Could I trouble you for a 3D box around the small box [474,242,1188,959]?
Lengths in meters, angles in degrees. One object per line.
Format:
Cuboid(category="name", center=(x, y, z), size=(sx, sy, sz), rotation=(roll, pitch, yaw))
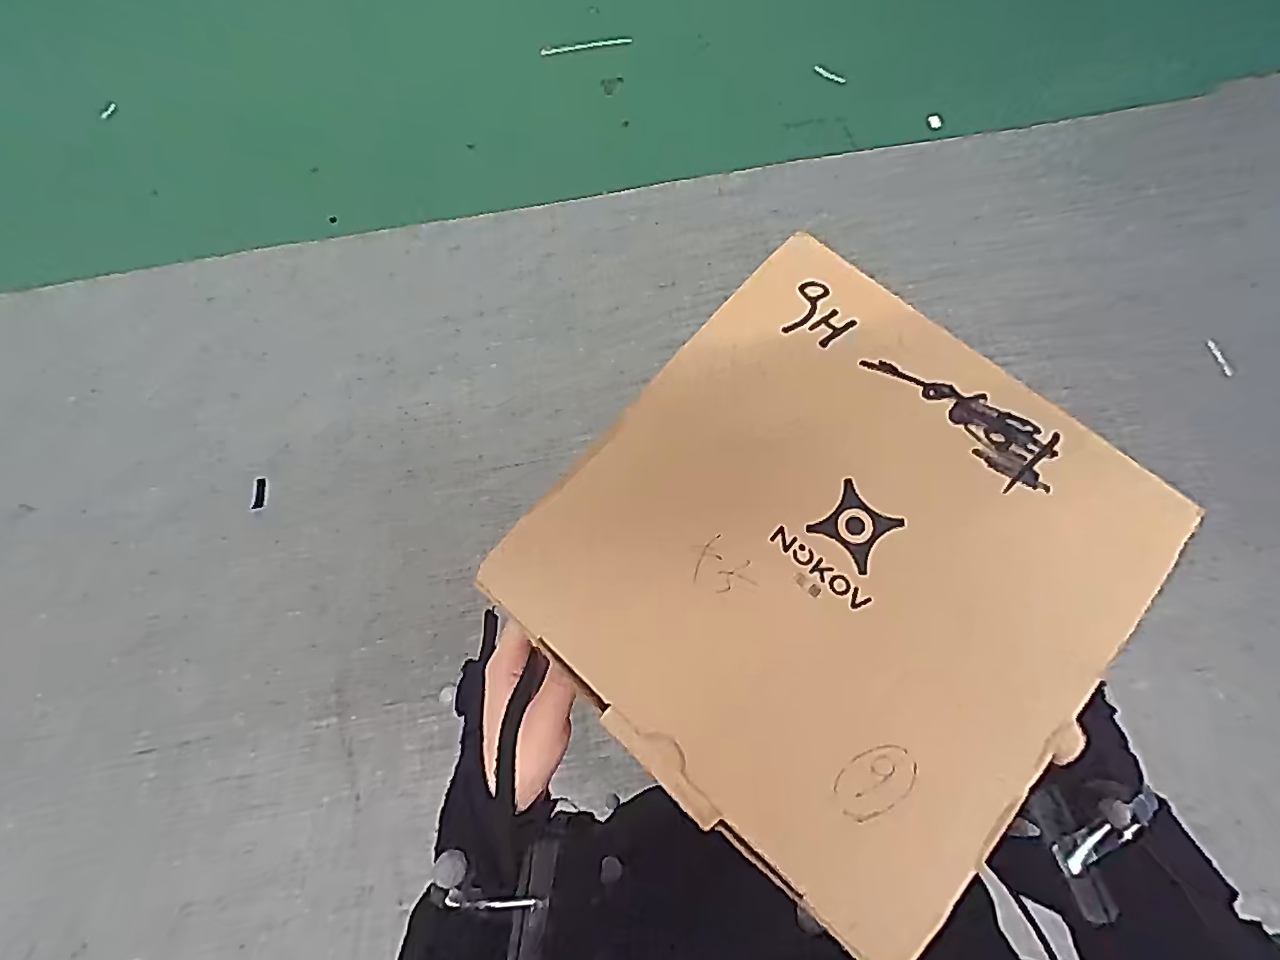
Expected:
Cuboid(category="small box", center=(0.063, 0.042, 0.253), size=(0.168, 0.176, 0.179), rotation=(41, 81, 11))
